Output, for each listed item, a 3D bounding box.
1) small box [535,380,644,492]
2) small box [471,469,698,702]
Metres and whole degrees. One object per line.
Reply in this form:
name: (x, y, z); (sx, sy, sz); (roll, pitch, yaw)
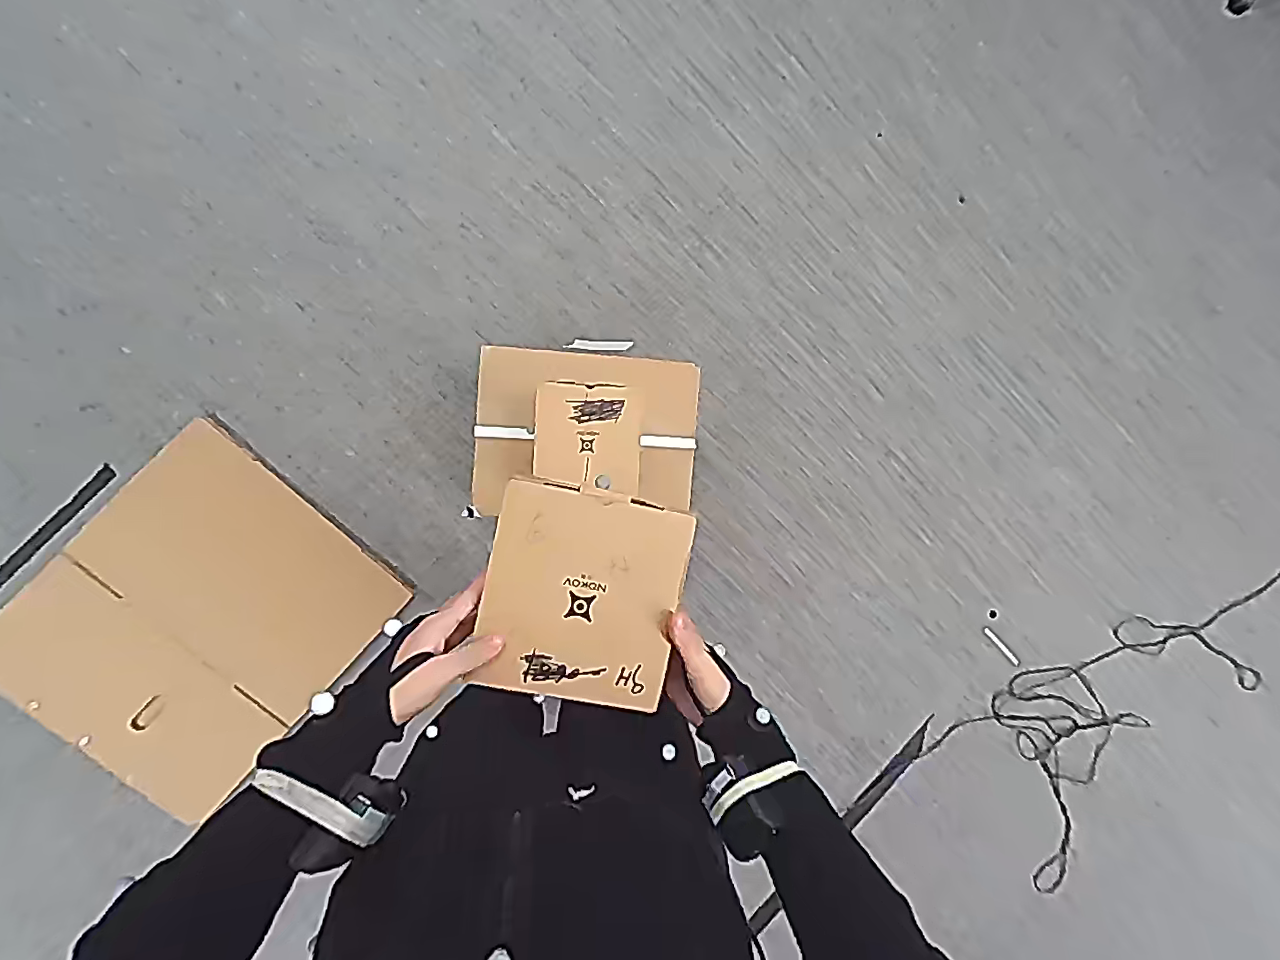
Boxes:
small box: (-0.090, -0.064, 0.912); (0.168, 0.176, 0.179); (2, 91, -8)
small box: (-0.056, 0.091, 0.535); (0.168, 0.176, 0.179); (12, 89, -7)
